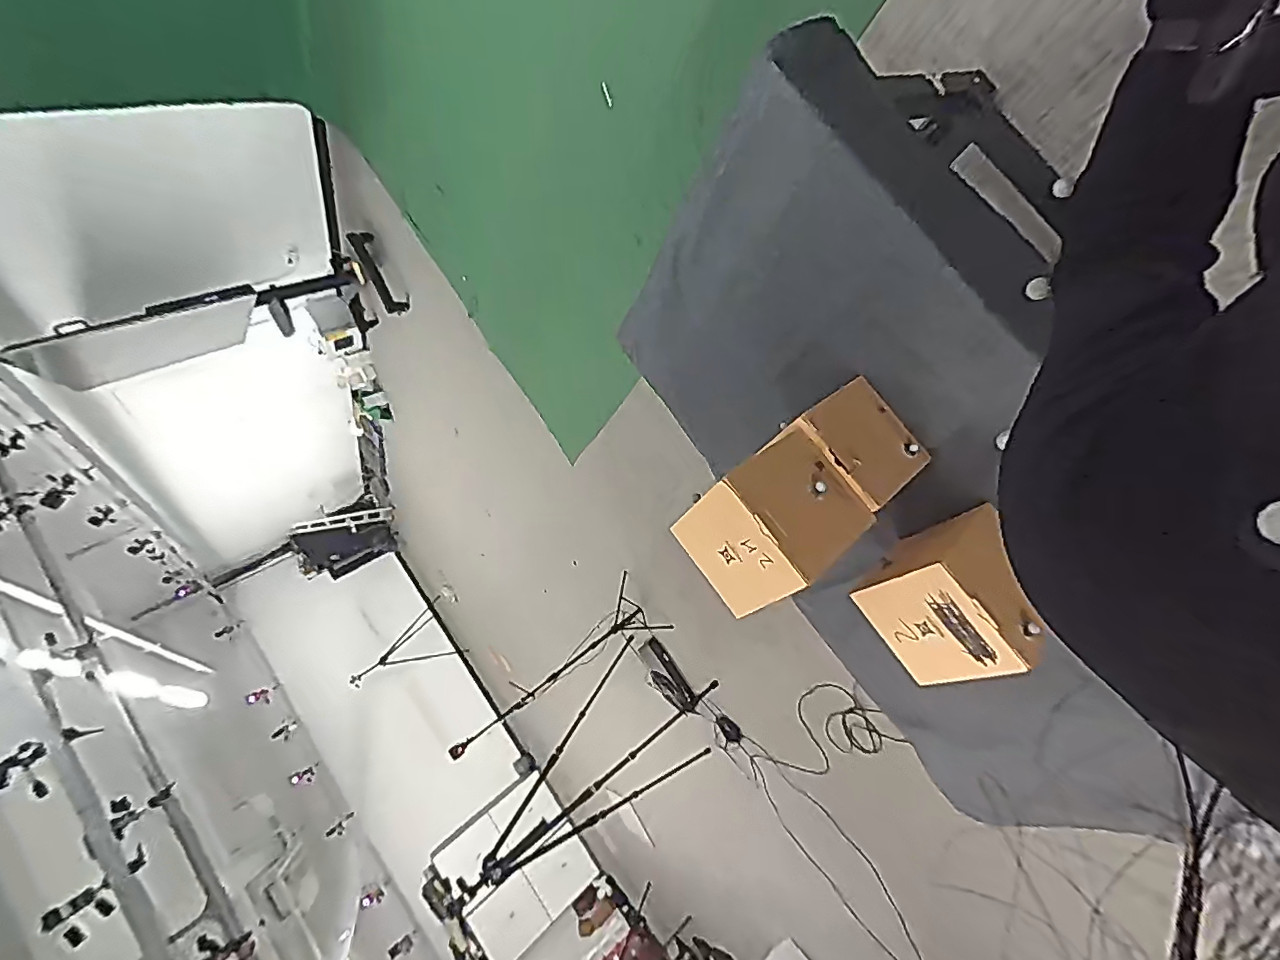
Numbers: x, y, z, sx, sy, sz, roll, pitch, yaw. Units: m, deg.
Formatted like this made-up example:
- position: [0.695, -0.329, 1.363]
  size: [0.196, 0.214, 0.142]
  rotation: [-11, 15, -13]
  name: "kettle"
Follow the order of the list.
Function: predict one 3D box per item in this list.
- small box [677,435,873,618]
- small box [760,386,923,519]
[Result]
- position: [0.190, 0.066, 0.770]
  size: [0.168, 0.176, 0.179]
  rotation: [53, 147, 11]
  name: "small box"
- position: [0.308, -0.020, 0.847]
  size: [0.168, 0.176, 0.179]
  rotation: [54, 148, 10]
  name: "small box"
